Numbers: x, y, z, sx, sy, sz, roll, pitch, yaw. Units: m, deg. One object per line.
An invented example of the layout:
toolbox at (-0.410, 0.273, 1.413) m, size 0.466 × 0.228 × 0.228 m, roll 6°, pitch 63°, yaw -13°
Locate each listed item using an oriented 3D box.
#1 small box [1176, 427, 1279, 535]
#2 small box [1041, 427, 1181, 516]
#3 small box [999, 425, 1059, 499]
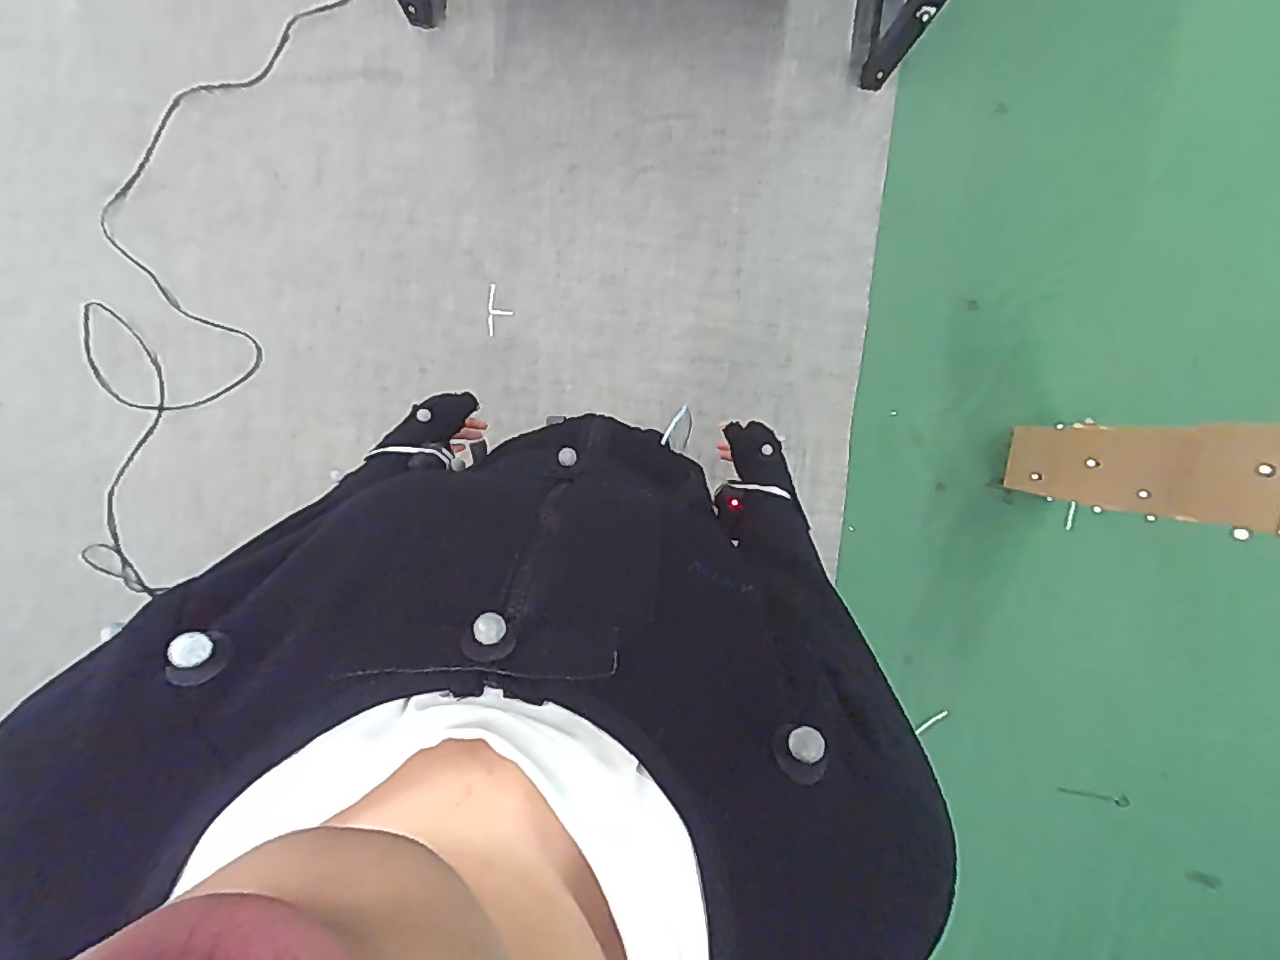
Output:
small box at (1.103, 0.004, 0.942) m, size 0.168 × 0.176 × 0.179 m, roll 9°, pitch 96°, yaw -3°
small box at (1.091, -0.026, 1.269) m, size 0.168 × 0.176 × 0.179 m, roll 7°, pitch 97°, yaw -2°
small box at (1.094, -0.047, 1.430) m, size 0.168 × 0.176 × 0.179 m, roll 7°, pitch 97°, yaw -3°
